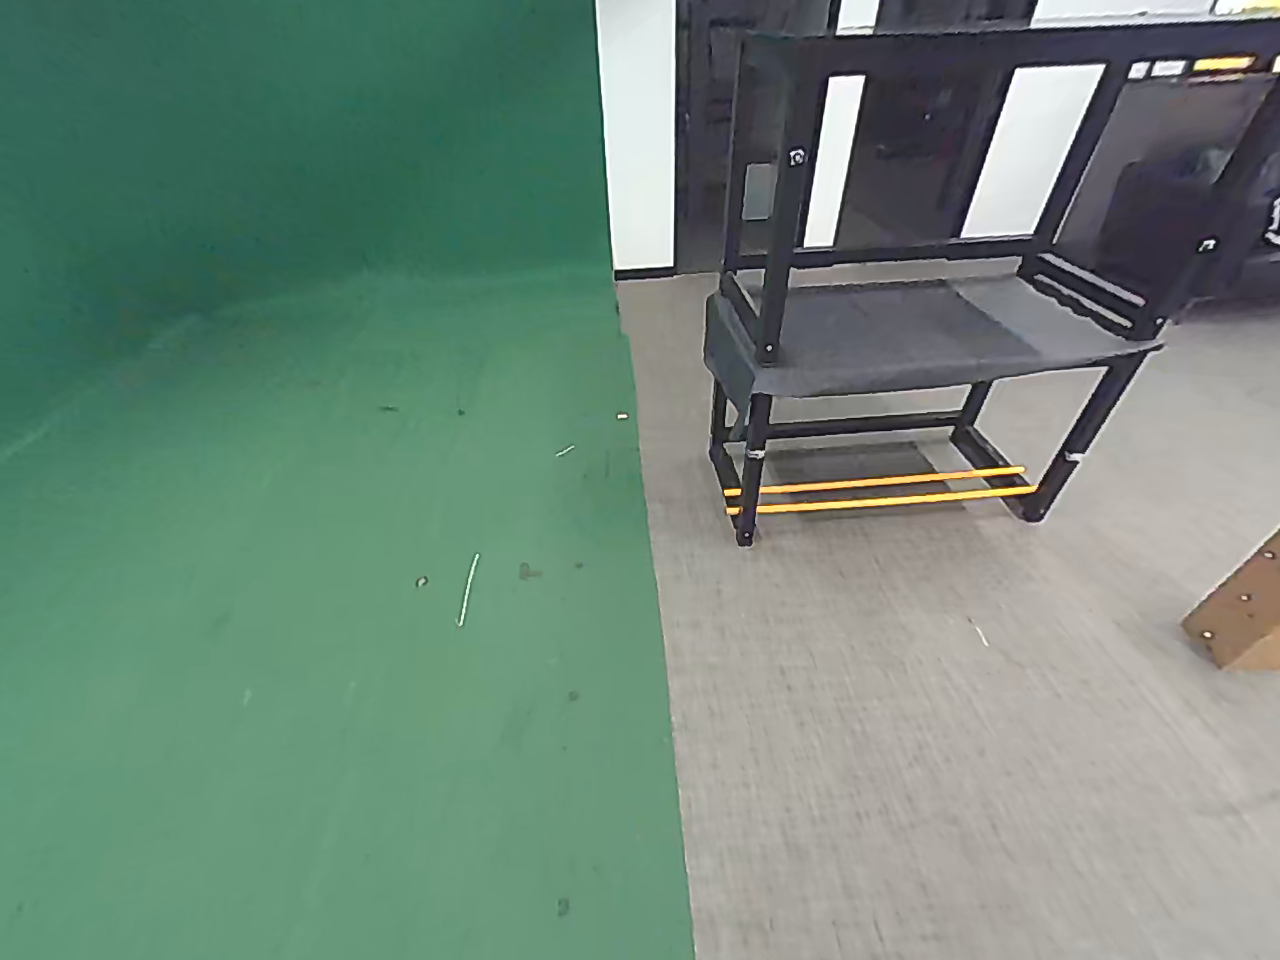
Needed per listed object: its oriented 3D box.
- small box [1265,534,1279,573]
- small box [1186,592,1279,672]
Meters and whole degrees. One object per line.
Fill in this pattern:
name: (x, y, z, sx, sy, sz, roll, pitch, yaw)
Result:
small box: (1.771, 0.195, 1.368, 0.179, 0.176, 0.168, -2, 41, 1)
small box: (1.782, 0.445, 1.578, 0.179, 0.176, 0.168, -1, 40, 3)
